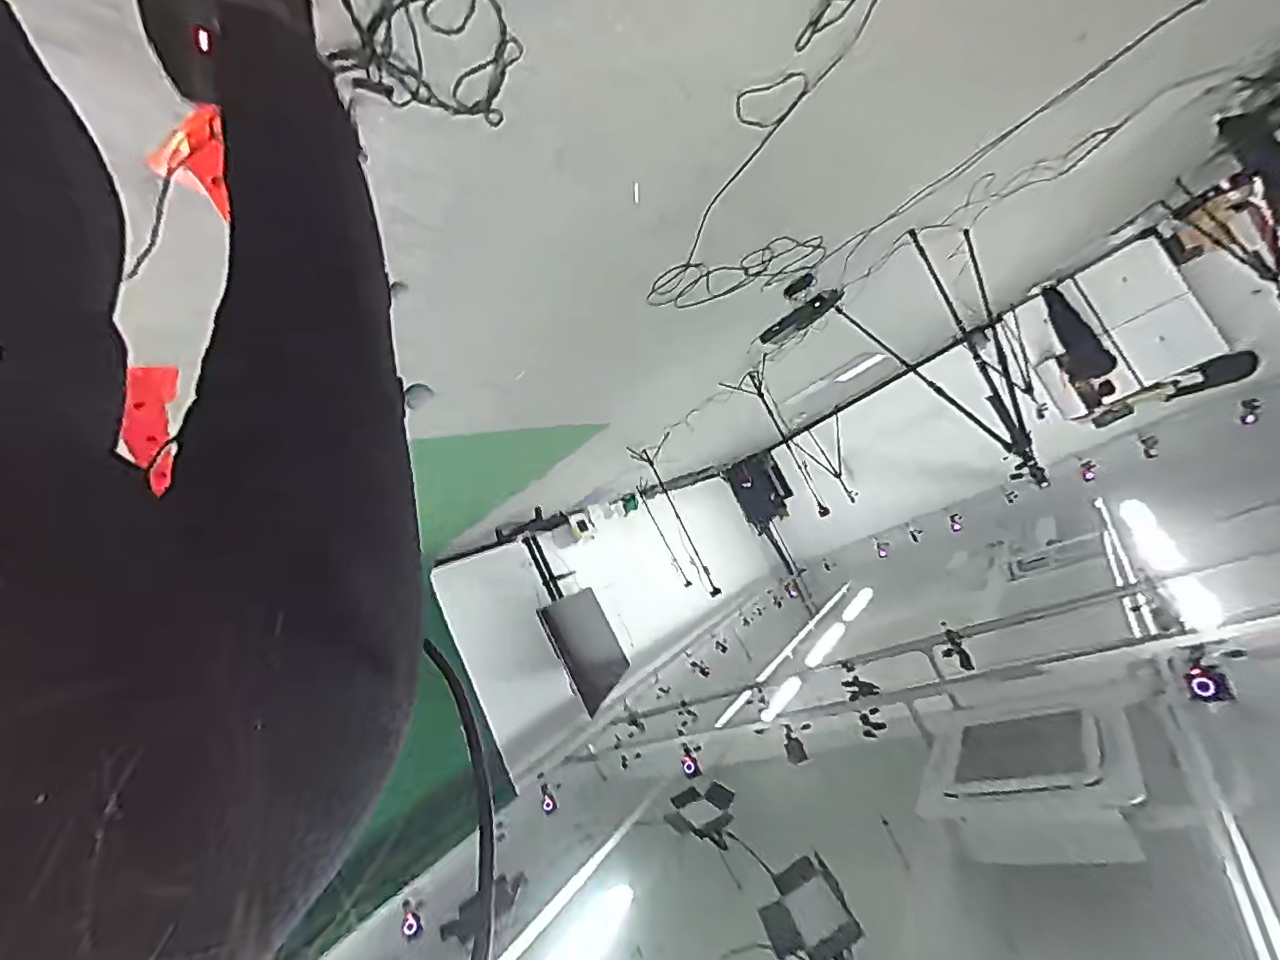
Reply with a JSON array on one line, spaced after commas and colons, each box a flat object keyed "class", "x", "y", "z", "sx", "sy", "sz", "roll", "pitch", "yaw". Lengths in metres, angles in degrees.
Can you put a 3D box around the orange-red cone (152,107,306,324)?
[{"class": "orange-red cone", "x": -0.716, "y": -0.459, "z": 1.028, "sx": 0.198, "sy": 0.360, "sz": 0.199, "roll": -28, "pitch": 172, "yaw": 16}]
